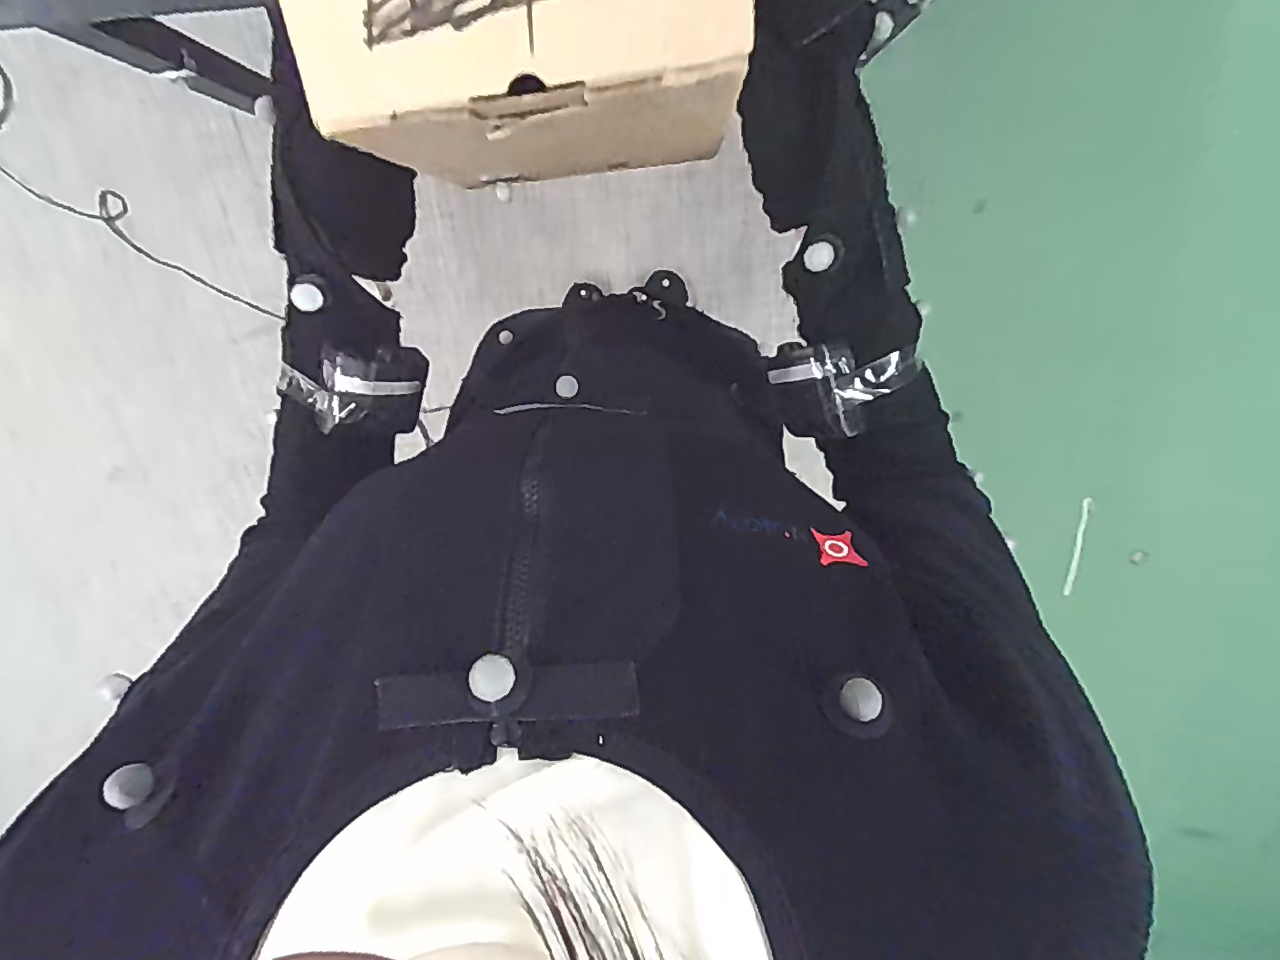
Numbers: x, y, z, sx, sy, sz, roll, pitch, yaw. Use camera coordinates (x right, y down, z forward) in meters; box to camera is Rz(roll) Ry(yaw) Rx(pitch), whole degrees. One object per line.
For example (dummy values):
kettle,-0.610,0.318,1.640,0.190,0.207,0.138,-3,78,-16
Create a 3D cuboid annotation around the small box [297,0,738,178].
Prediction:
small box,-0.045,-0.252,0.253,0.168,0.176,0.179,-4,111,5
